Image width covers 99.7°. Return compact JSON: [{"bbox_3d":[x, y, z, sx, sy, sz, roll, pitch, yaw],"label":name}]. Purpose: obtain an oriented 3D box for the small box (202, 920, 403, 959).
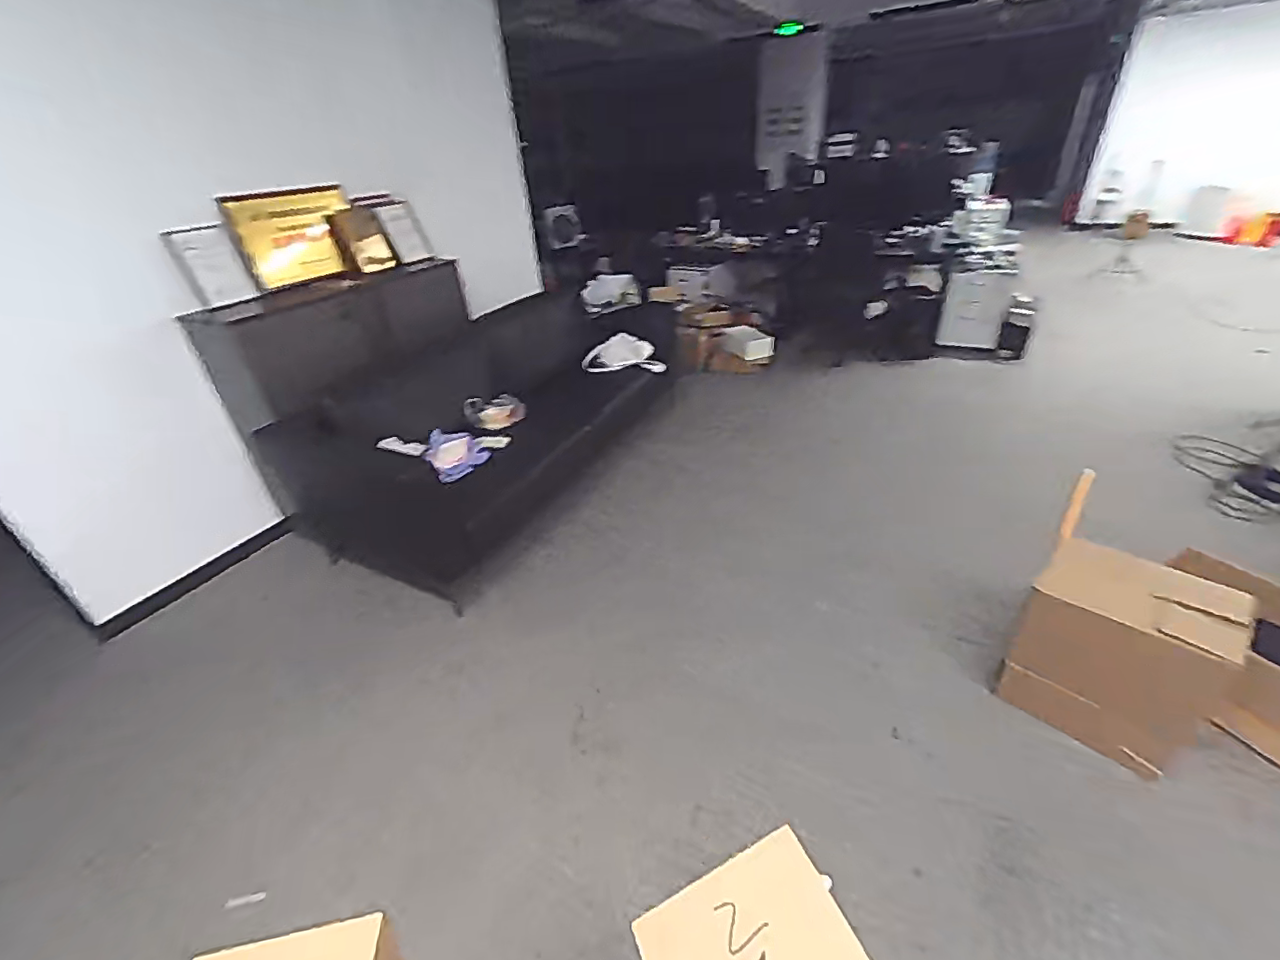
[{"bbox_3d":[-0.294,0.523,0.447,0.168,0.176,0.179,-7,24,-7],"label":"small box"}]
